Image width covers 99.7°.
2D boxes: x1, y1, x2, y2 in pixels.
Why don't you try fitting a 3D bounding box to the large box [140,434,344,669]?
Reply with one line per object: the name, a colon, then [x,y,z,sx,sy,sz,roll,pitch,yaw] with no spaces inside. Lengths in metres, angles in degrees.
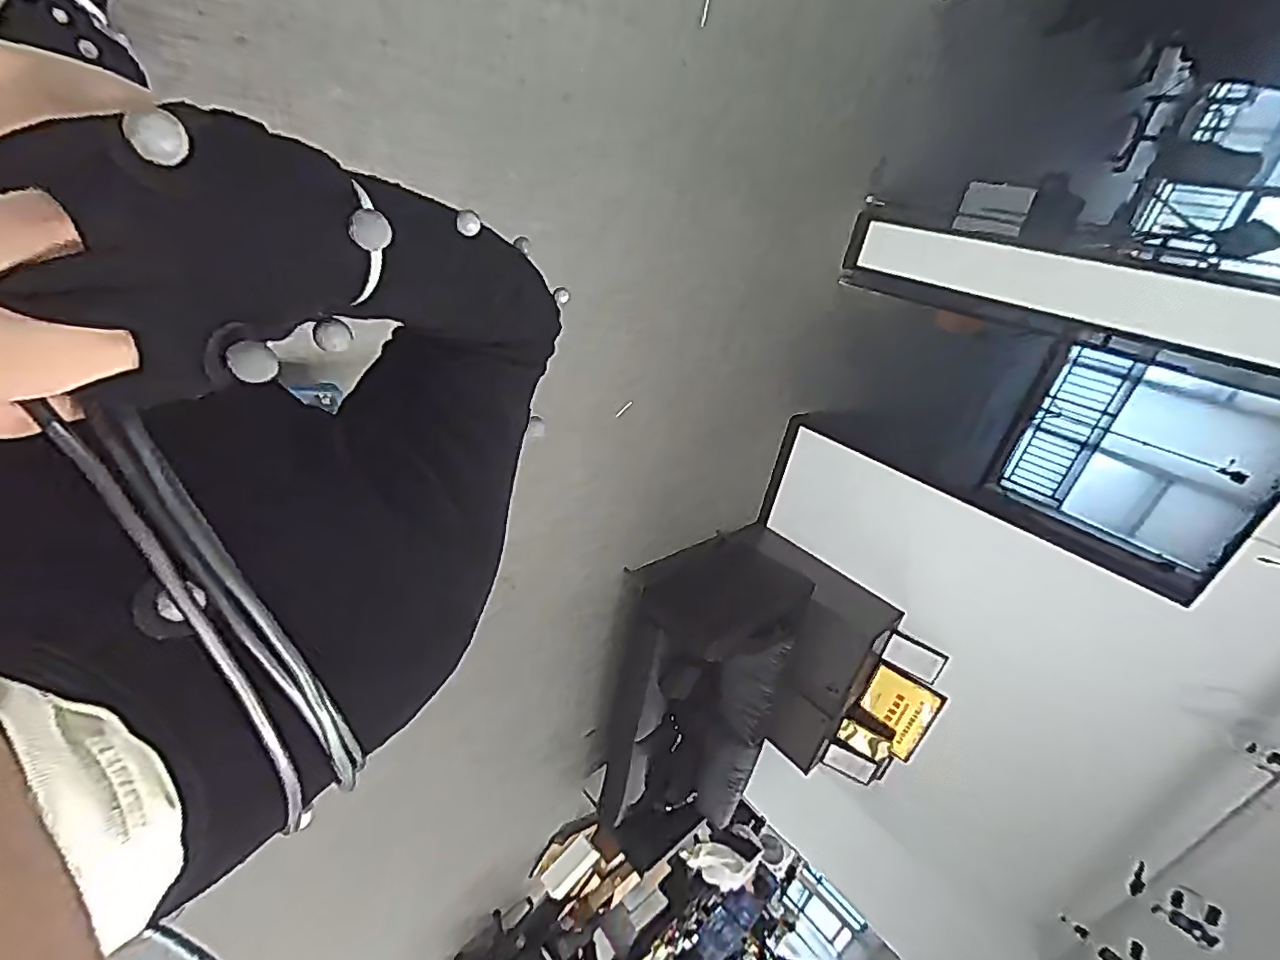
large box: [-0.914,0.143,1.258,0.320,0.320,0.408,-9,125,-44]
